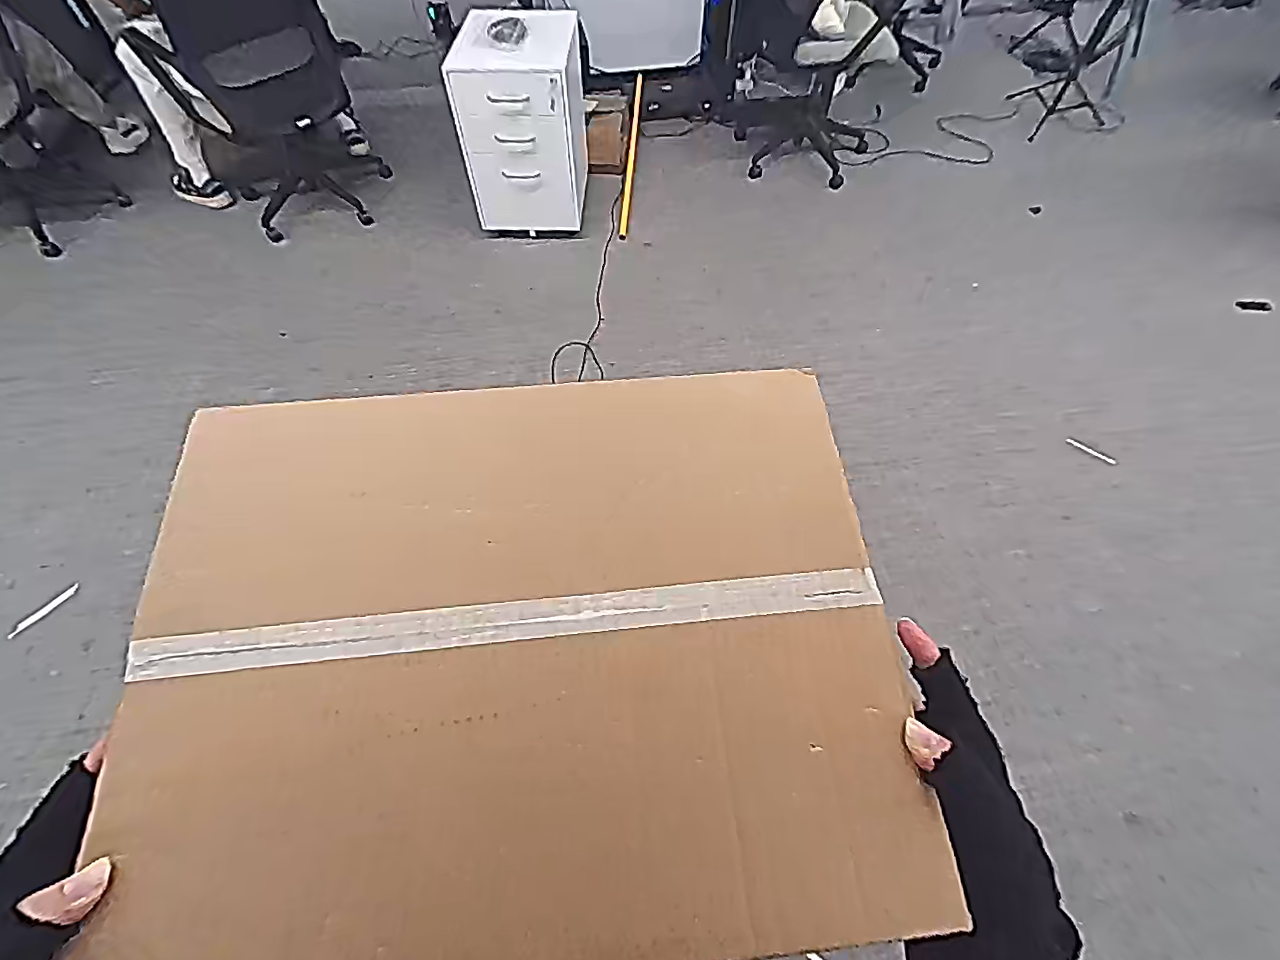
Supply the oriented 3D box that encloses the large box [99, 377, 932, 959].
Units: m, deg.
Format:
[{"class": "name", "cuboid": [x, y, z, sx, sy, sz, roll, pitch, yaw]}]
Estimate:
[{"class": "large box", "cuboid": [-0.070, 0.143, 0.451, 0.408, 0.320, 0.320, -5, 66, -4]}]
